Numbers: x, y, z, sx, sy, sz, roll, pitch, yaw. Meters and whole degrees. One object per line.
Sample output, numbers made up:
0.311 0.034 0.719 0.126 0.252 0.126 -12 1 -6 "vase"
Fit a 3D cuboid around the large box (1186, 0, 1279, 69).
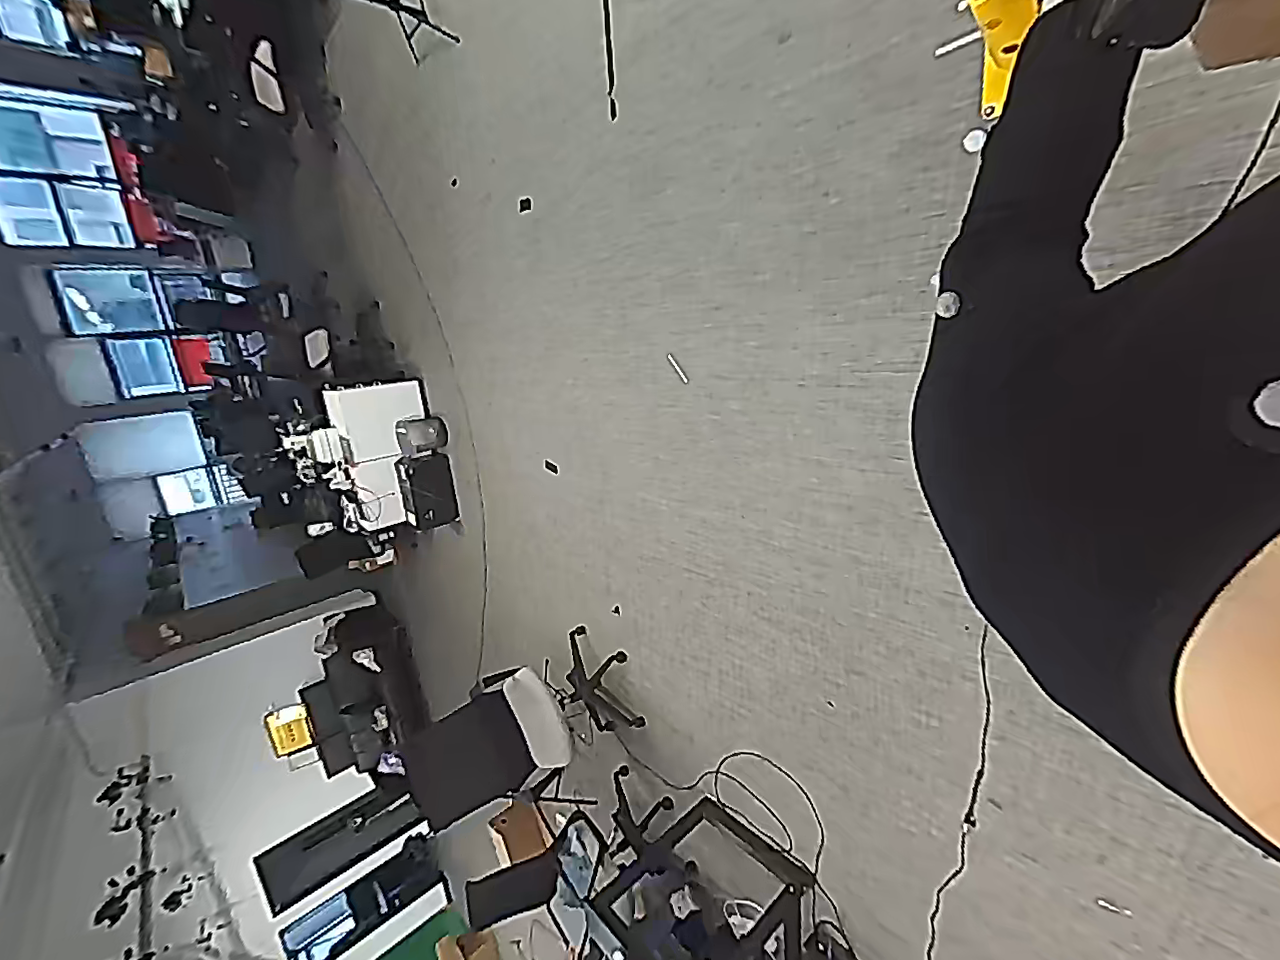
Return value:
0.553 -0.447 0.233 0.408 0.320 0.320 17 120 43 "large box"
